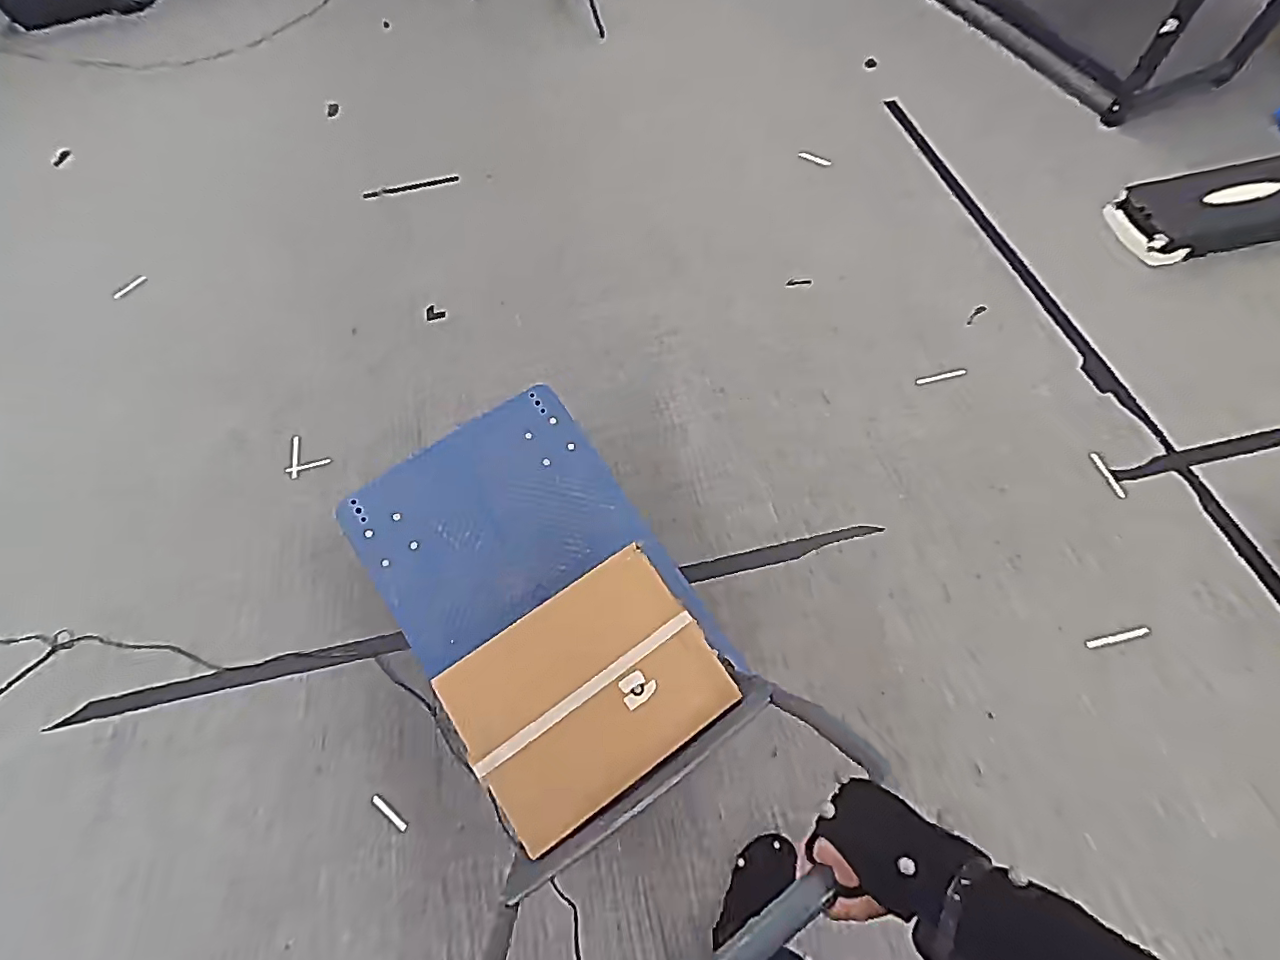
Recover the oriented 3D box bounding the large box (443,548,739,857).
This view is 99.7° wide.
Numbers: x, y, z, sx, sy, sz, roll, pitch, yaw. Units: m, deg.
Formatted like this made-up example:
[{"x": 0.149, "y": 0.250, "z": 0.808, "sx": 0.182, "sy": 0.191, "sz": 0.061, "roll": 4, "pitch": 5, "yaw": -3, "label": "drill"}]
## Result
[{"x": -0.086, "y": 0.392, "z": 1.033, "sx": 0.408, "sy": 0.320, "sz": 0.320, "roll": -34, "pitch": 79, "yaw": -12, "label": "large box"}]
